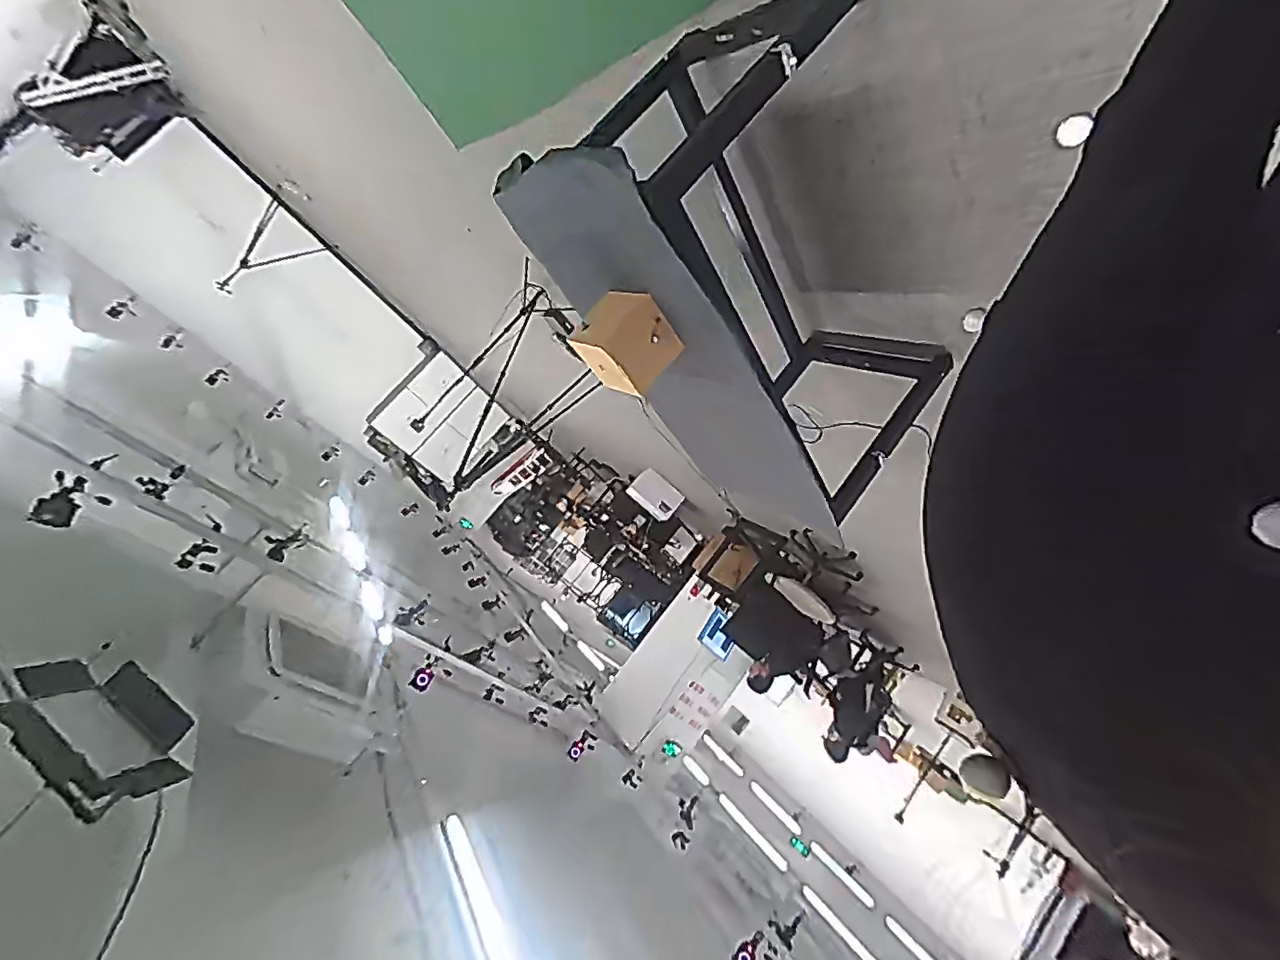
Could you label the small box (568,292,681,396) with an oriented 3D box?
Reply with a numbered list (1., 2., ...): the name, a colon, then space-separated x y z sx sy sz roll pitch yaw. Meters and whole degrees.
1. small box: -0.034 -0.332 1.297 0.179 0.176 0.168 28 165 50
